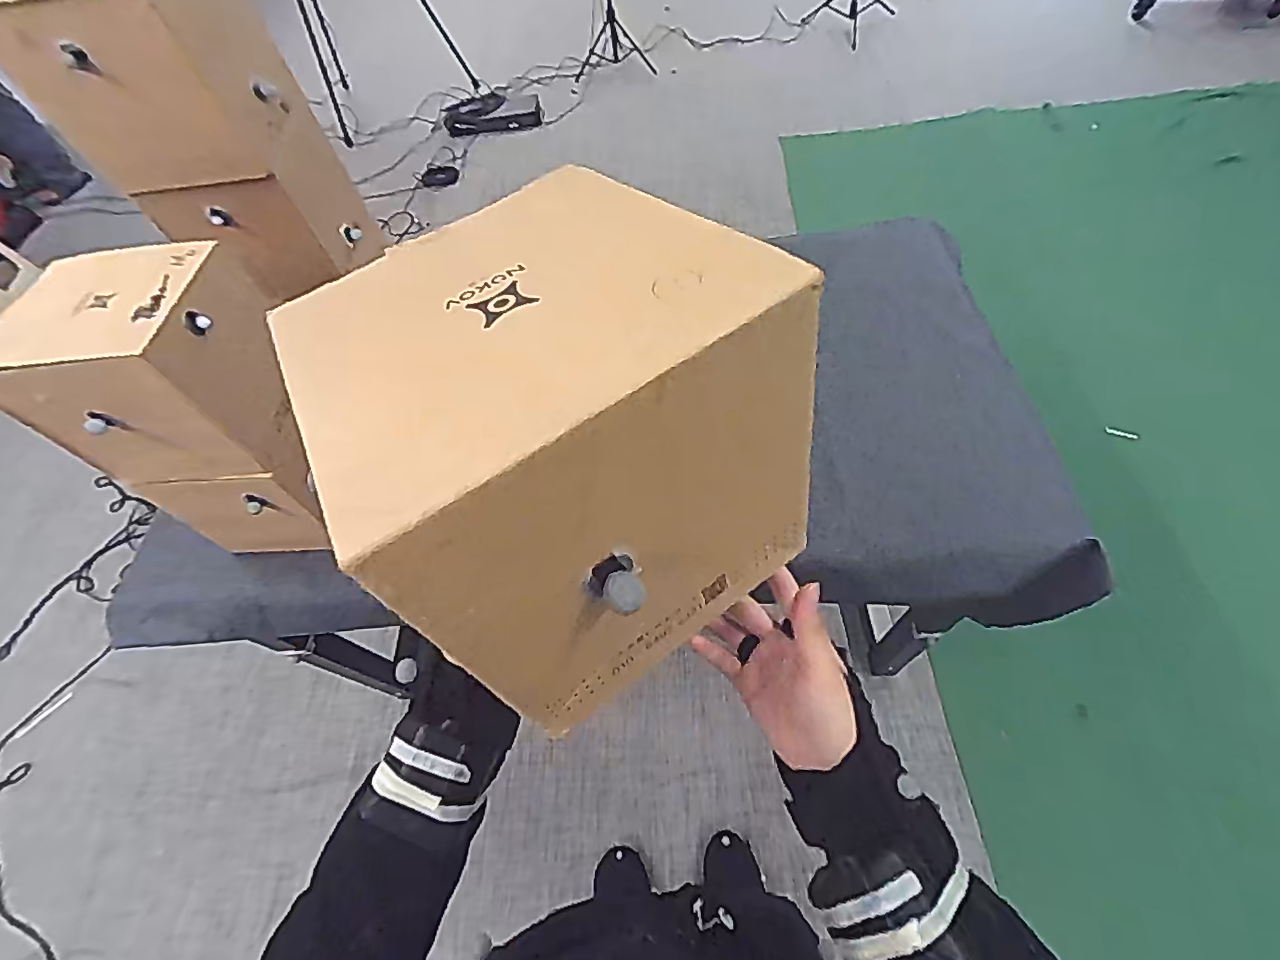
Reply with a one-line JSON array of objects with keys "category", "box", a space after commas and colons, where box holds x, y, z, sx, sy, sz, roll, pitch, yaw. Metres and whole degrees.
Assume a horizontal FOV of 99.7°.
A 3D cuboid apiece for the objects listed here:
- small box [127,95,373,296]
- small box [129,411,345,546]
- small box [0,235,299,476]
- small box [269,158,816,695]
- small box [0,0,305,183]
[{"category": "small box", "box": [-0.487, -0.362, 0.708, 0.179, 0.176, 0.168, -7, 61, 1]}, {"category": "small box", "box": [-0.459, -0.025, 0.688, 0.179, 0.176, 0.168, -3, 56, 5]}, {"category": "small box", "box": [-0.480, -0.118, 0.554, 0.179, 0.176, 0.168, -6, 57, 4]}, {"category": "small box", "box": [-0.035, -0.020, 0.267, 0.168, 0.176, 0.179, -35, 51, -13]}, {"category": "small box", "box": [-0.499, -0.436, 0.562, 0.179, 0.176, 0.168, -5, 61, 3]}]
